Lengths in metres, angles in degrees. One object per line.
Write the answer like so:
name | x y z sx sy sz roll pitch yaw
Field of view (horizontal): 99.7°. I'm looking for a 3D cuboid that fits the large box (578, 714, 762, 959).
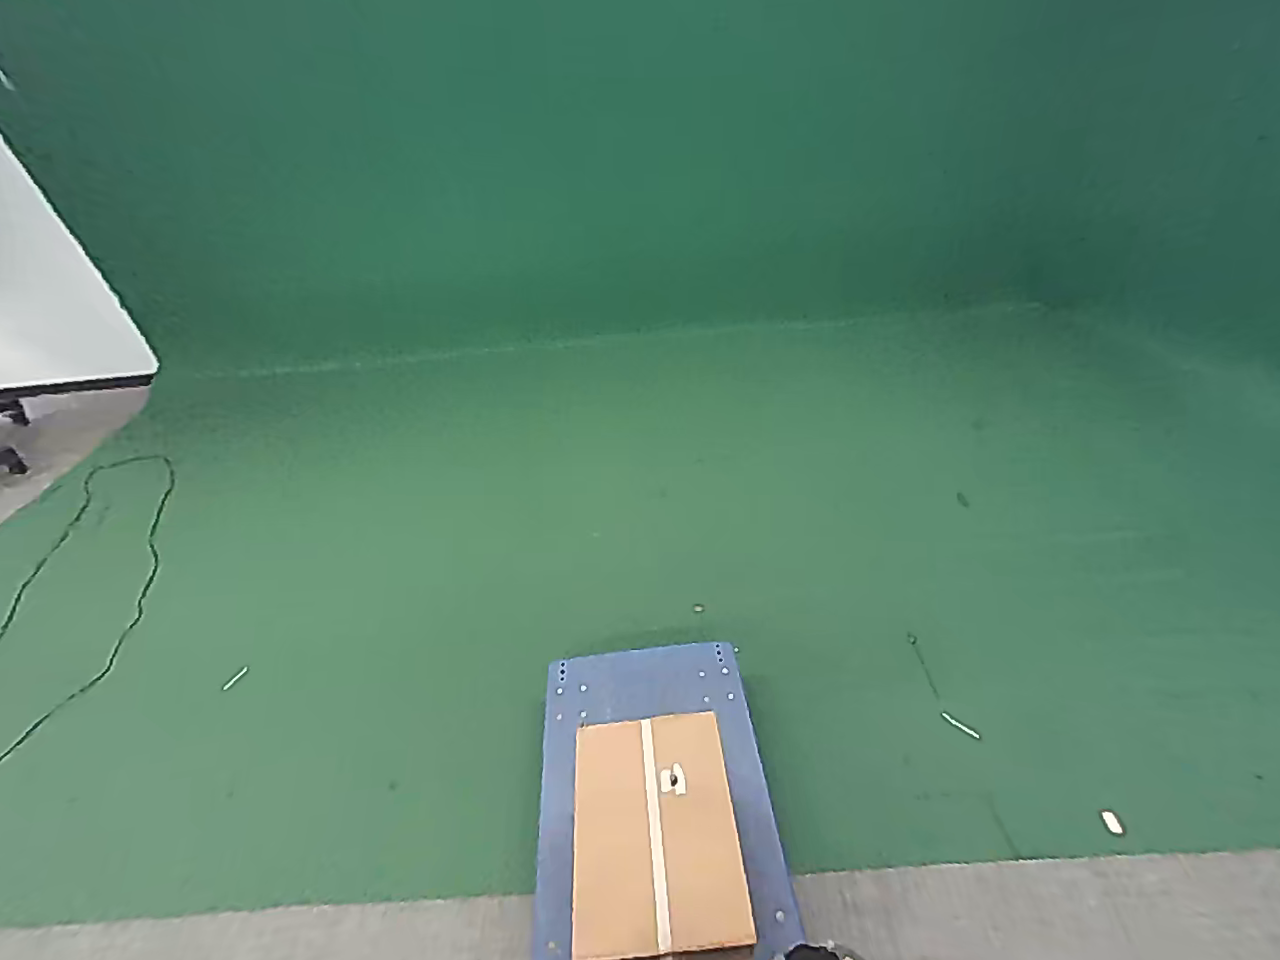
large box | 0.050 0.778 1.139 0.320 0.320 0.408 -7 39 0
